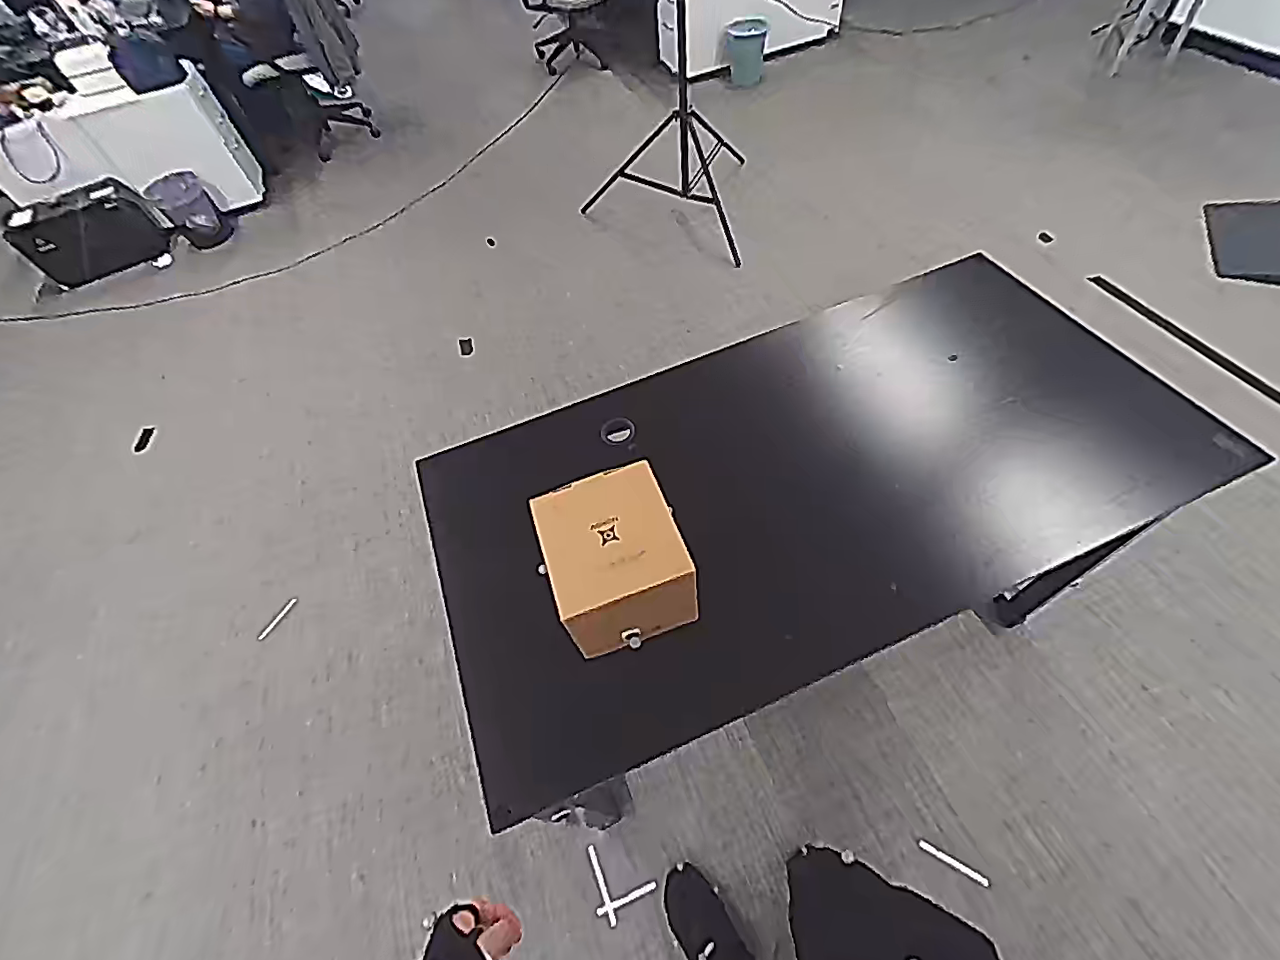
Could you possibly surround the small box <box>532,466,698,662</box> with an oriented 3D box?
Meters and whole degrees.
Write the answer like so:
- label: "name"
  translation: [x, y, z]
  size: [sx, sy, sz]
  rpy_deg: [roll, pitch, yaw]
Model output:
- label: "small box"
  translation: [-0.029, 0.116, 0.725]
  size: [0.168, 0.176, 0.179]
  rpy_deg: [-20, 57, -6]
